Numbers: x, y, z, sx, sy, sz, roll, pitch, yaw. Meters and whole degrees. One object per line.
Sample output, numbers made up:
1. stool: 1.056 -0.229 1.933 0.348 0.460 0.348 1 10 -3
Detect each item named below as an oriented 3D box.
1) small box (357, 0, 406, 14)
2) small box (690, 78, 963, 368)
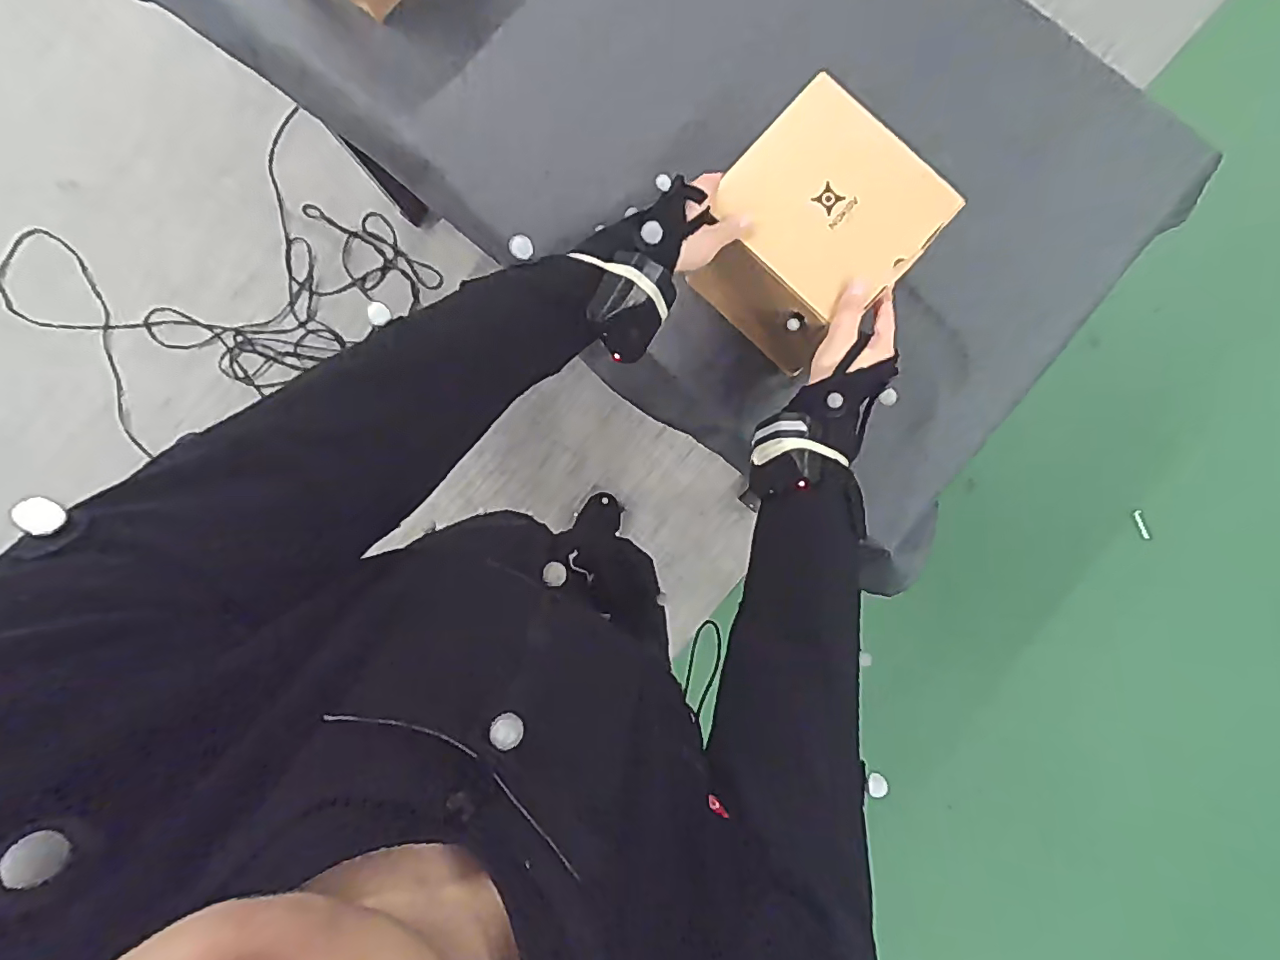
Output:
1. small box: -0.317 -0.658 0.563 0.179 0.176 0.168 39 90 -1
2. small box: 0.169 -0.241 0.557 0.179 0.176 0.168 43 89 0
